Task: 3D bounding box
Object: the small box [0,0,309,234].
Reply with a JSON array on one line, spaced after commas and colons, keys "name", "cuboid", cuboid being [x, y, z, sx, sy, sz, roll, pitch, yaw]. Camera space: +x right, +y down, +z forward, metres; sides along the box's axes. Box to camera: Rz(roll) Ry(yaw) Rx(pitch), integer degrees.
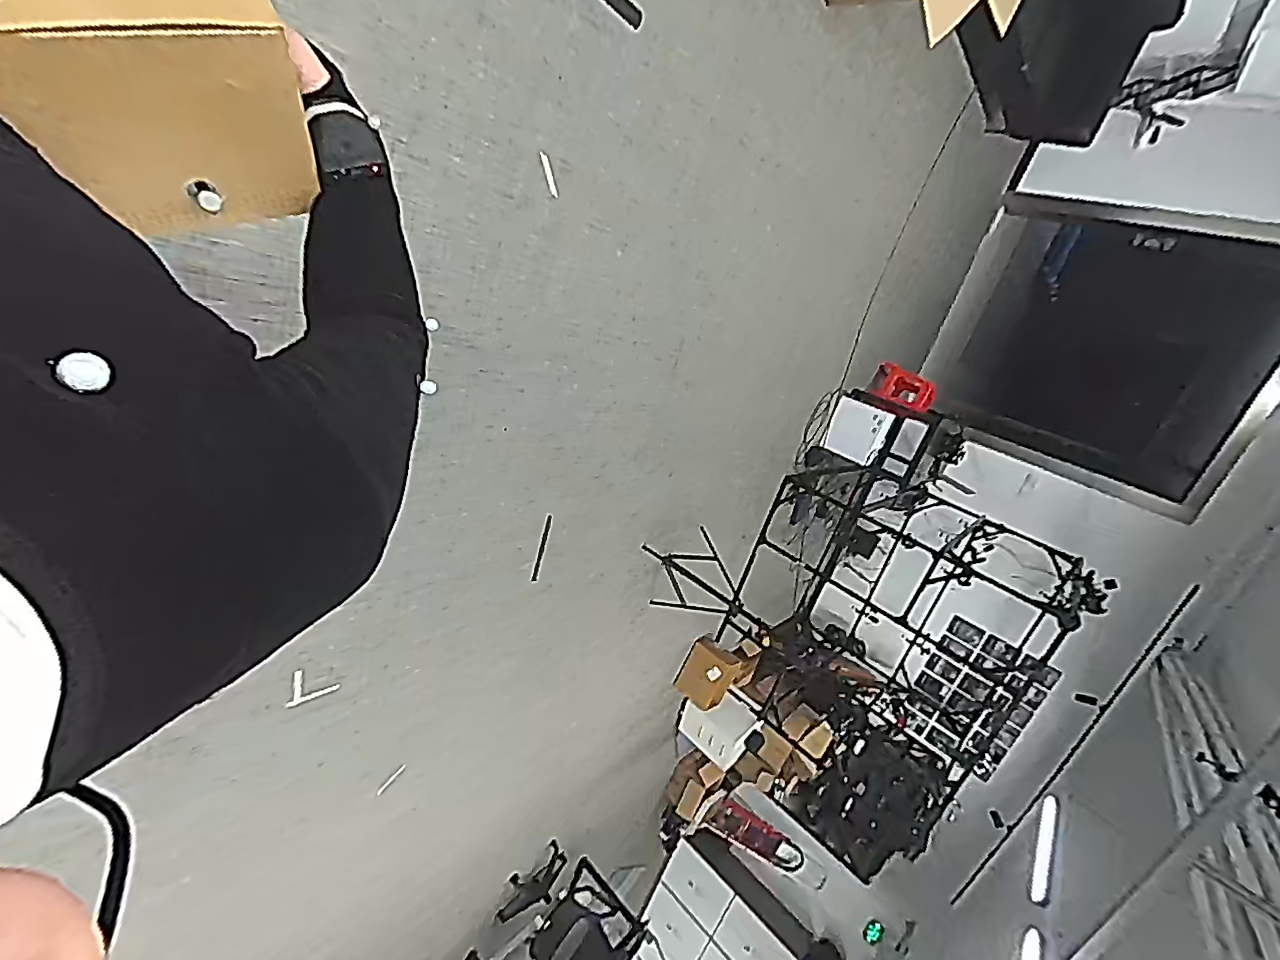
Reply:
[{"name": "small box", "cuboid": [-0.380, -0.321, 0.414, 0.179, 0.168, 0.176, -25, 174, -27]}]
